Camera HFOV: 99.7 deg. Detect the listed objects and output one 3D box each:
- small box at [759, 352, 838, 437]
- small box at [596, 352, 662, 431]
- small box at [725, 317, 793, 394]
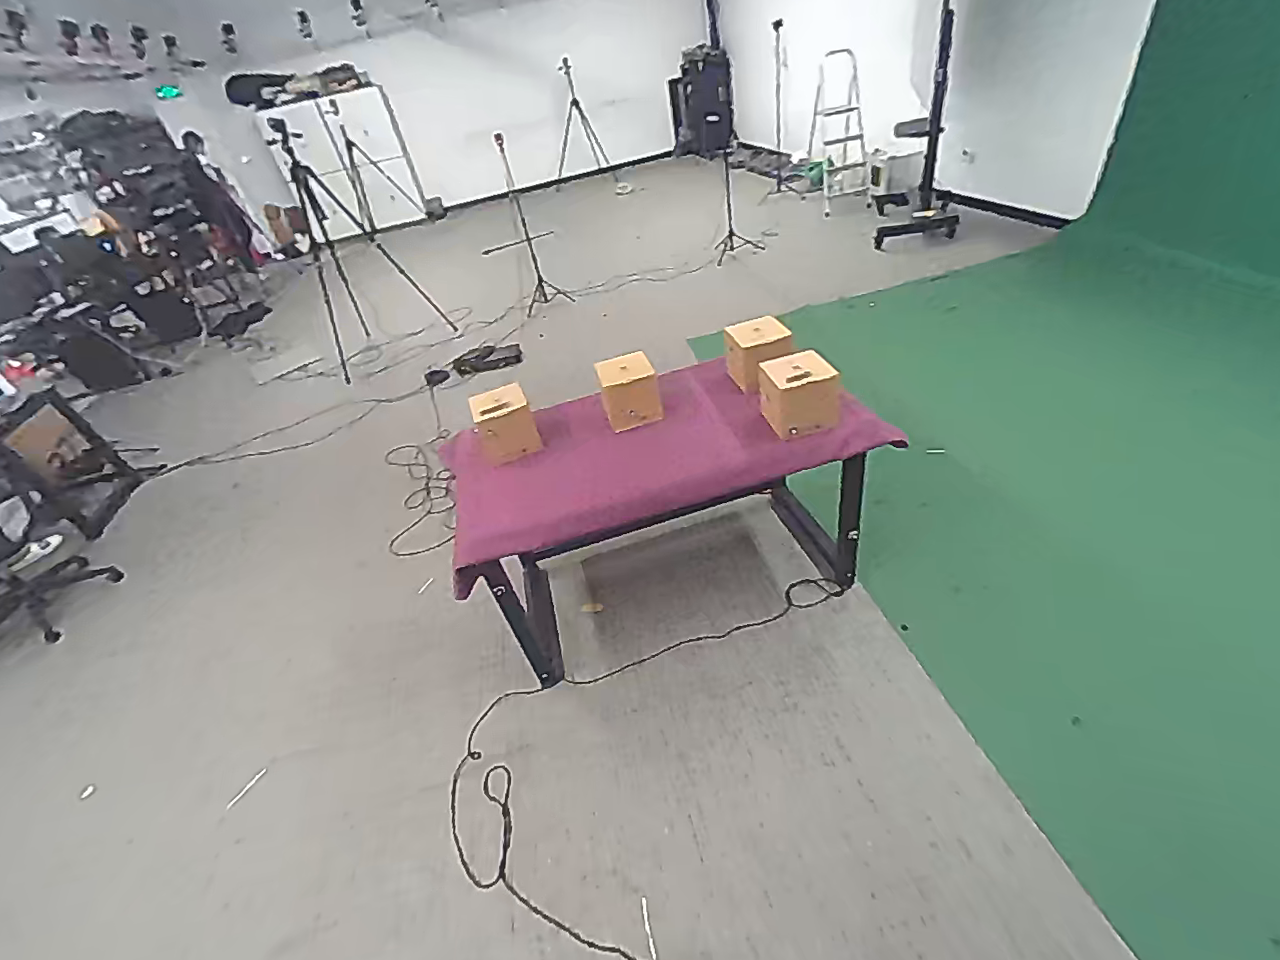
[{"bbox_3d":[0.448,-0.235,1.533,0.168,0.176,0.179,-14,36,-1],"label":"small box"},{"bbox_3d":[-0.035,-0.283,1.730,0.168,0.176,0.179,-16,40,-5],"label":"small box"},{"bbox_3d":[0.387,-0.406,1.762,0.168,0.176,0.179,-16,39,-3],"label":"small box"}]
